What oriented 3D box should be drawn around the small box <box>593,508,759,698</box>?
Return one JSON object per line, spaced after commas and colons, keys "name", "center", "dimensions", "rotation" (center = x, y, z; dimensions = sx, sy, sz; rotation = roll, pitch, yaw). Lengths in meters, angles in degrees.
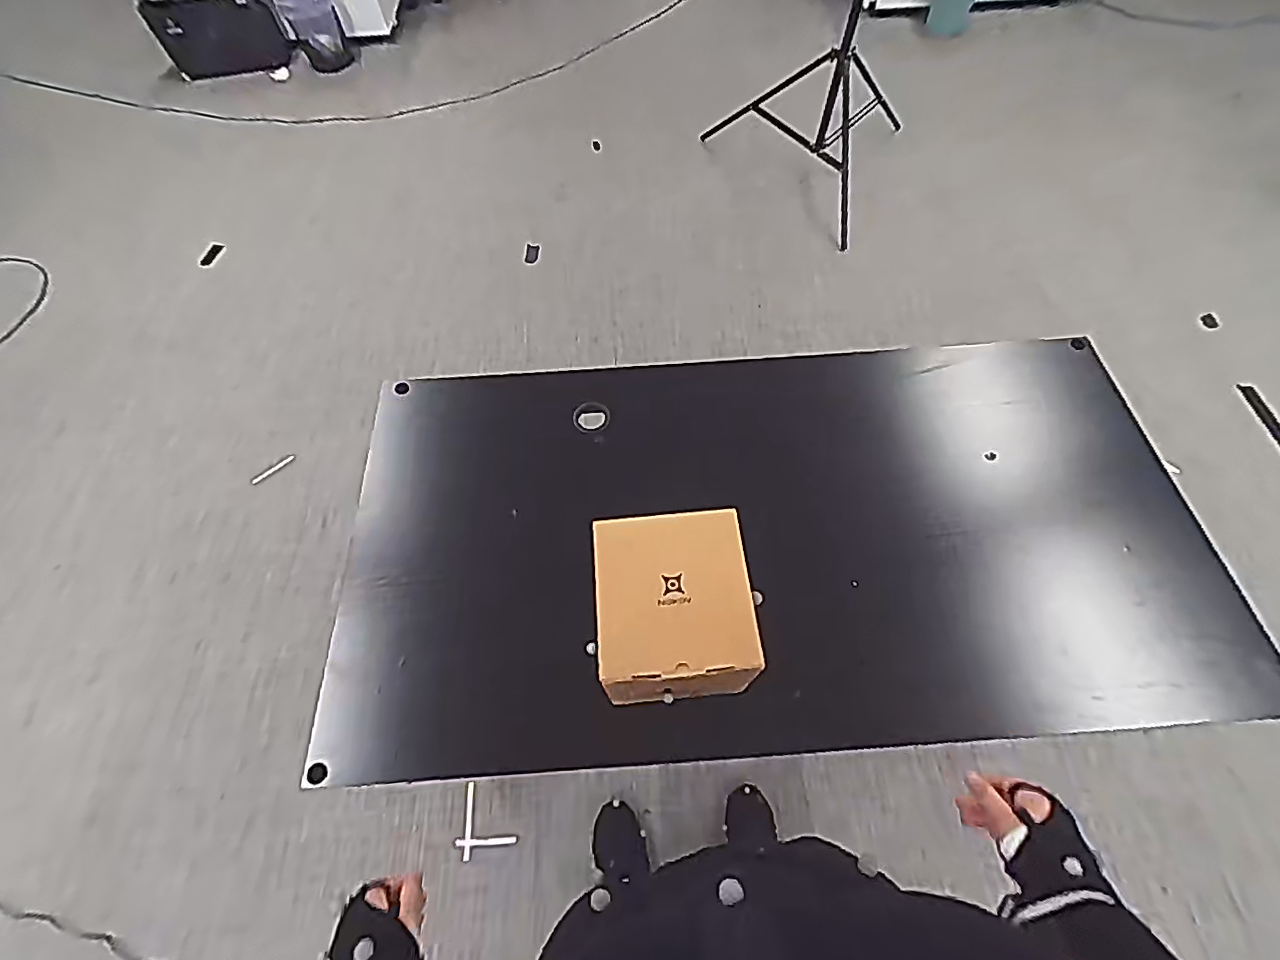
{"name": "small box", "center": [0.033, 0.152, 0.647], "dimensions": [0.168, 0.176, 0.179], "rotation": [-5, 62, -1]}
